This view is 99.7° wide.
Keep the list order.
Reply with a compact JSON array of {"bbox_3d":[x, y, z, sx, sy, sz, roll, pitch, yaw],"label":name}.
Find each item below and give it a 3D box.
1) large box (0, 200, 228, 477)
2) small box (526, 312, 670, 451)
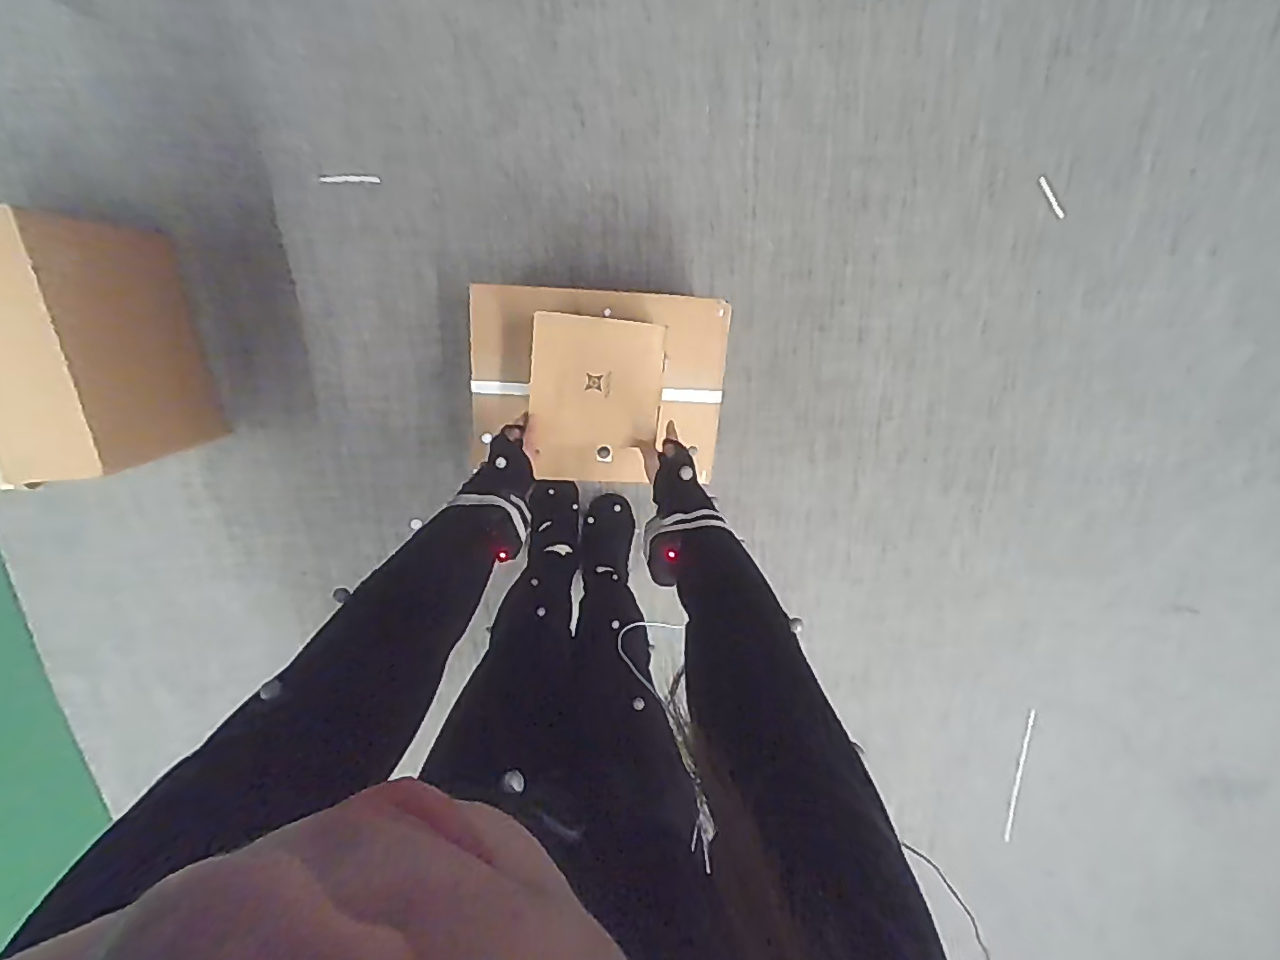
[{"bbox_3d":[-1.027,-0.233,0.951,0.320,0.320,0.408,-3,106,-3],"label":"large box"},{"bbox_3d":[-0.062,-0.147,0.787,0.179,0.176,0.168,6,104,-6],"label":"small box"}]
